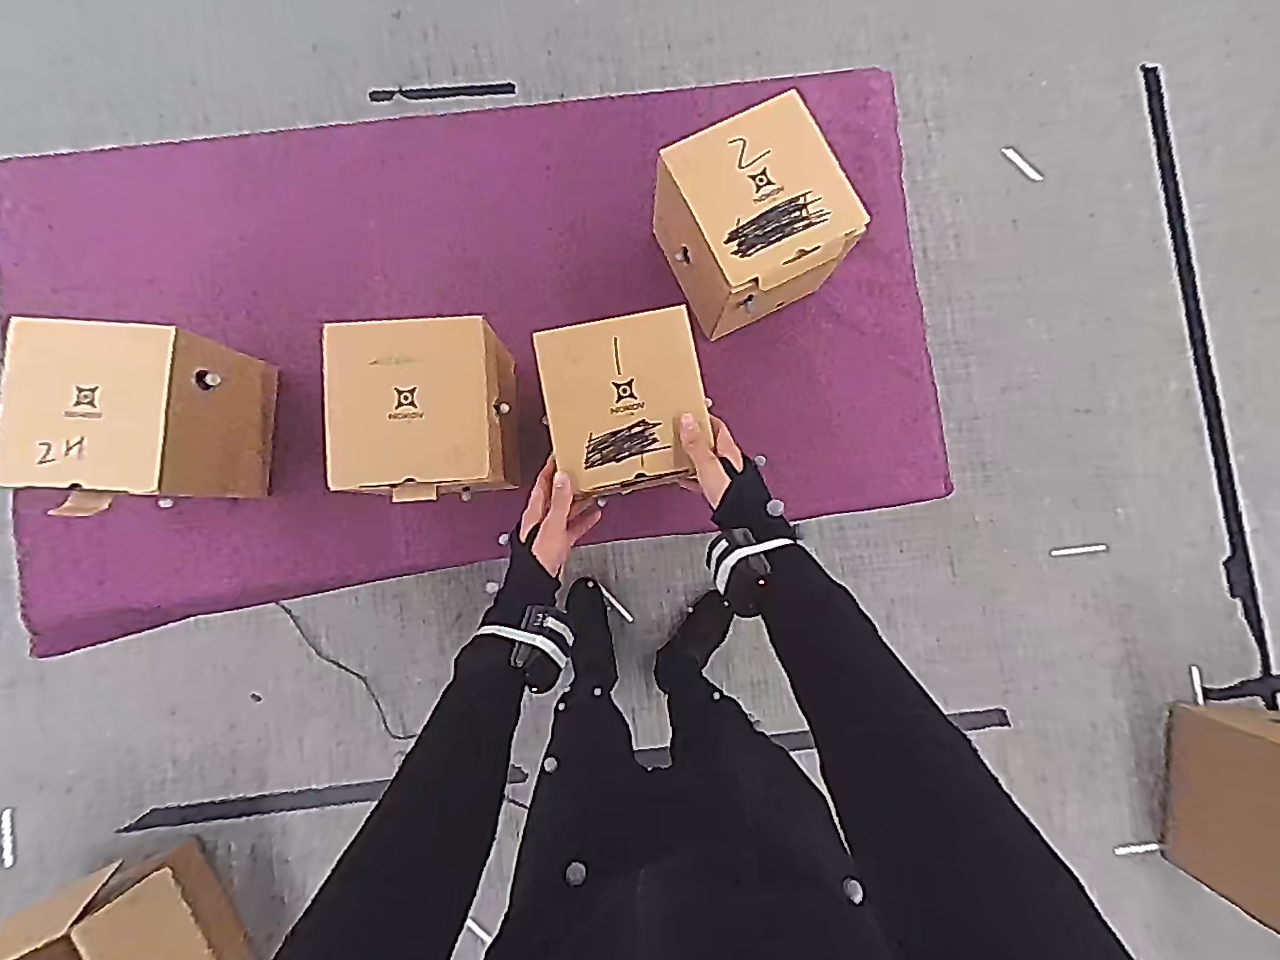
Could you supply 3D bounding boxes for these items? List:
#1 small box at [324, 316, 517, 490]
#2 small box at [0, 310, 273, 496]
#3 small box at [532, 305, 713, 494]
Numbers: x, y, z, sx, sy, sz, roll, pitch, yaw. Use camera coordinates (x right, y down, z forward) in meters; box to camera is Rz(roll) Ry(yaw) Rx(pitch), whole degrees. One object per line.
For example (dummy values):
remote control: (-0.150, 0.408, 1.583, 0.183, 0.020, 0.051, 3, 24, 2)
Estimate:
small box: (-0.242, -0.077, 0.634, 0.168, 0.176, 0.179, -3, 87, -3)
small box: (-0.559, -0.076, 0.622, 0.168, 0.176, 0.179, 4, 87, -1)
small box: (-0.019, -0.081, 0.638, 0.168, 0.176, 0.179, -11, 86, -2)
